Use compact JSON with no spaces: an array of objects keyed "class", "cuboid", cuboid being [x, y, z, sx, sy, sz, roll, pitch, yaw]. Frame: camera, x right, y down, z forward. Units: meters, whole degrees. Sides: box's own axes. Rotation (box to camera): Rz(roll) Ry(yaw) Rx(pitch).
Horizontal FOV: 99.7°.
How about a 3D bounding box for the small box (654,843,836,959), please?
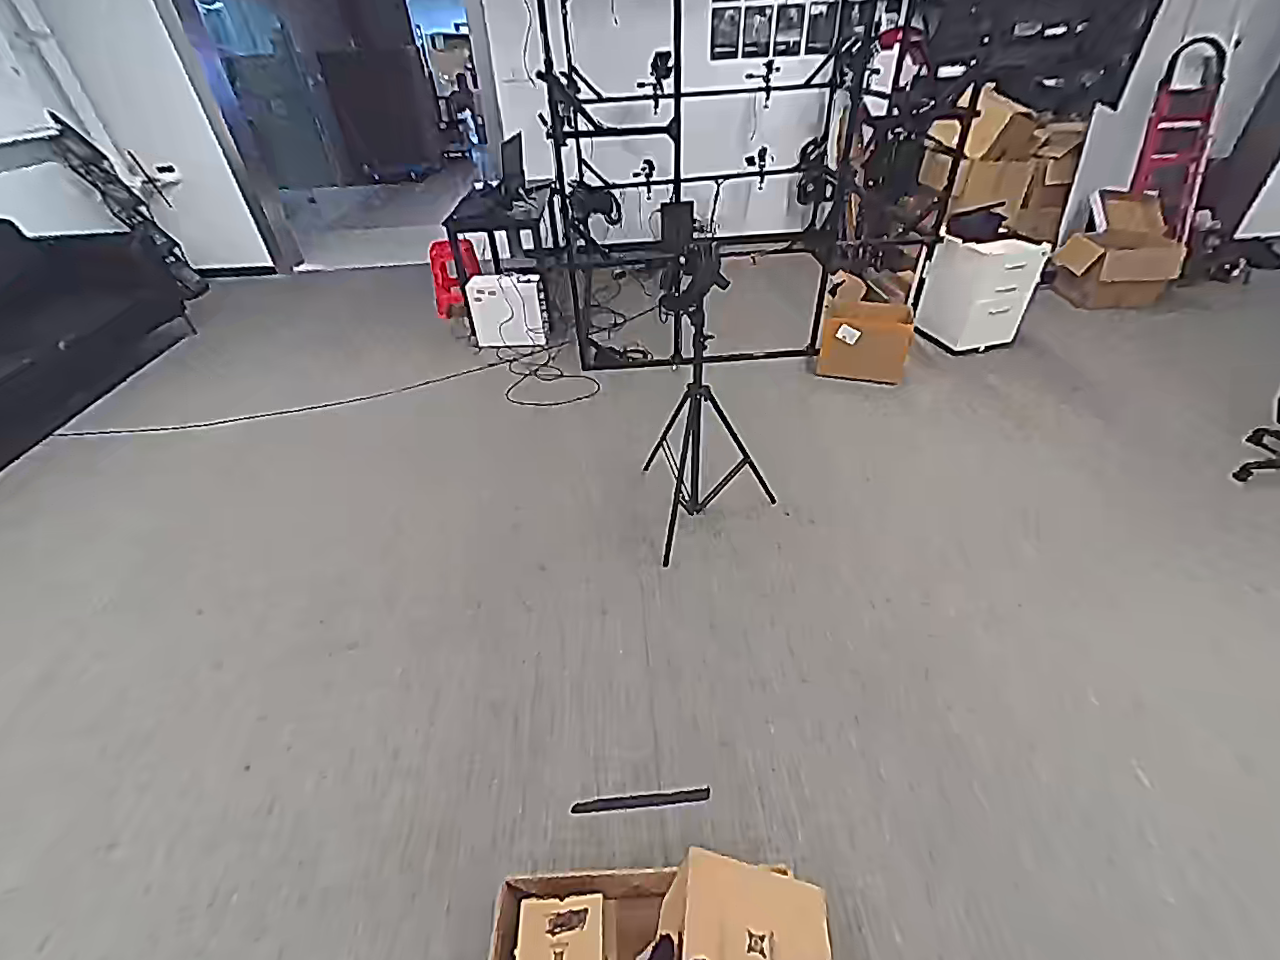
[{"class":"small box","cuboid":[0.116,0.576,0.633,0.179,0.176,0.168,15,27,2]}]
